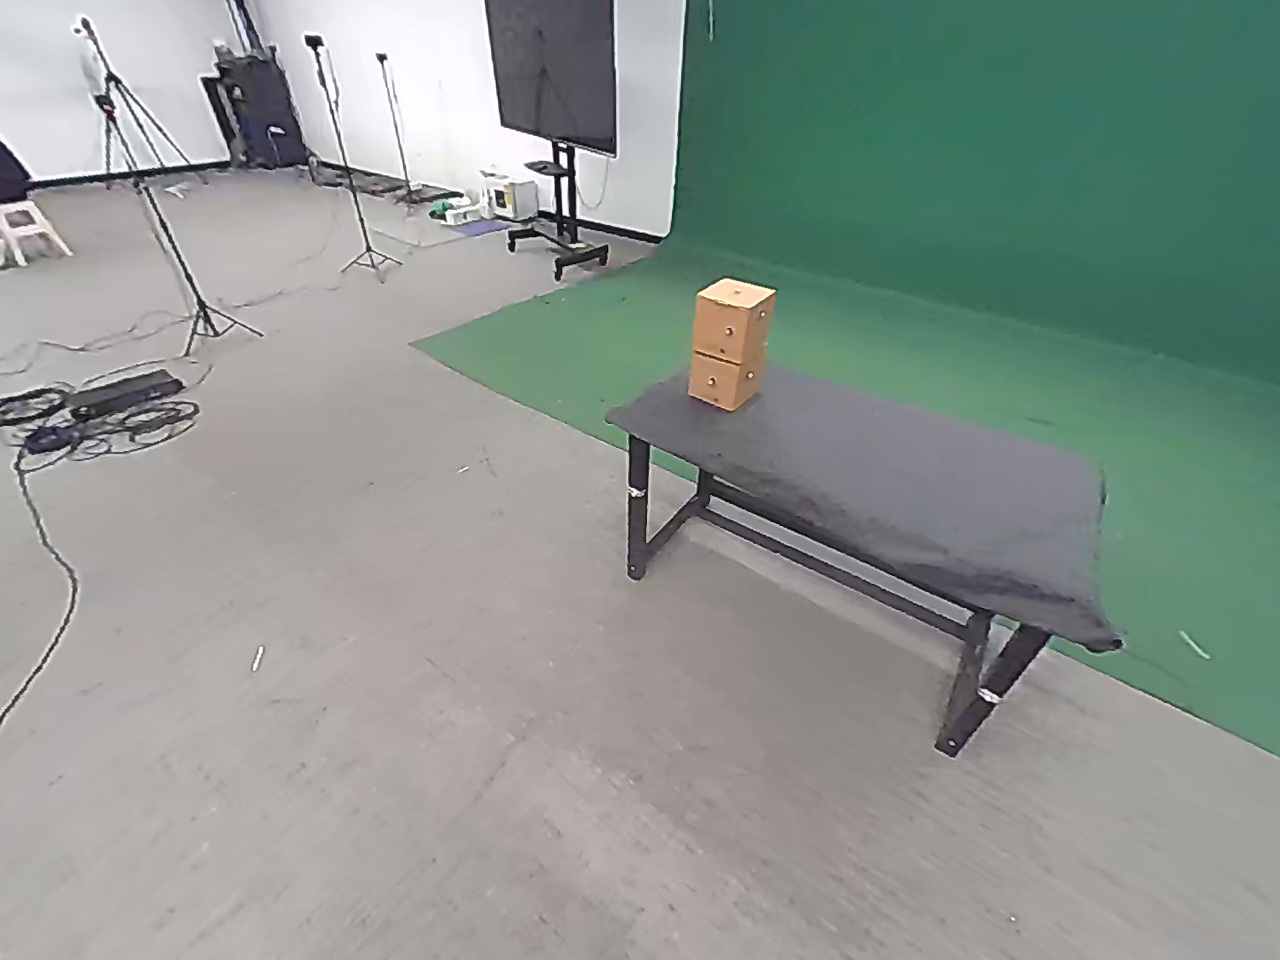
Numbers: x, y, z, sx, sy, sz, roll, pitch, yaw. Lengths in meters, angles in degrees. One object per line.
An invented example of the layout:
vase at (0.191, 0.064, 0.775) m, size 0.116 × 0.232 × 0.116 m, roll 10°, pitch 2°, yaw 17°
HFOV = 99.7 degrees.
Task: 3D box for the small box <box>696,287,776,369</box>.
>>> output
small box at (0.278, -0.446, 1.586) m, size 0.168 × 0.176 × 0.179 m, roll 26°, pitch 43°, yaw 25°

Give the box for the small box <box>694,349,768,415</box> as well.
small box at (0.280, -0.326, 1.696) m, size 0.168 × 0.176 × 0.179 m, roll 27°, pitch 45°, yaw 27°
